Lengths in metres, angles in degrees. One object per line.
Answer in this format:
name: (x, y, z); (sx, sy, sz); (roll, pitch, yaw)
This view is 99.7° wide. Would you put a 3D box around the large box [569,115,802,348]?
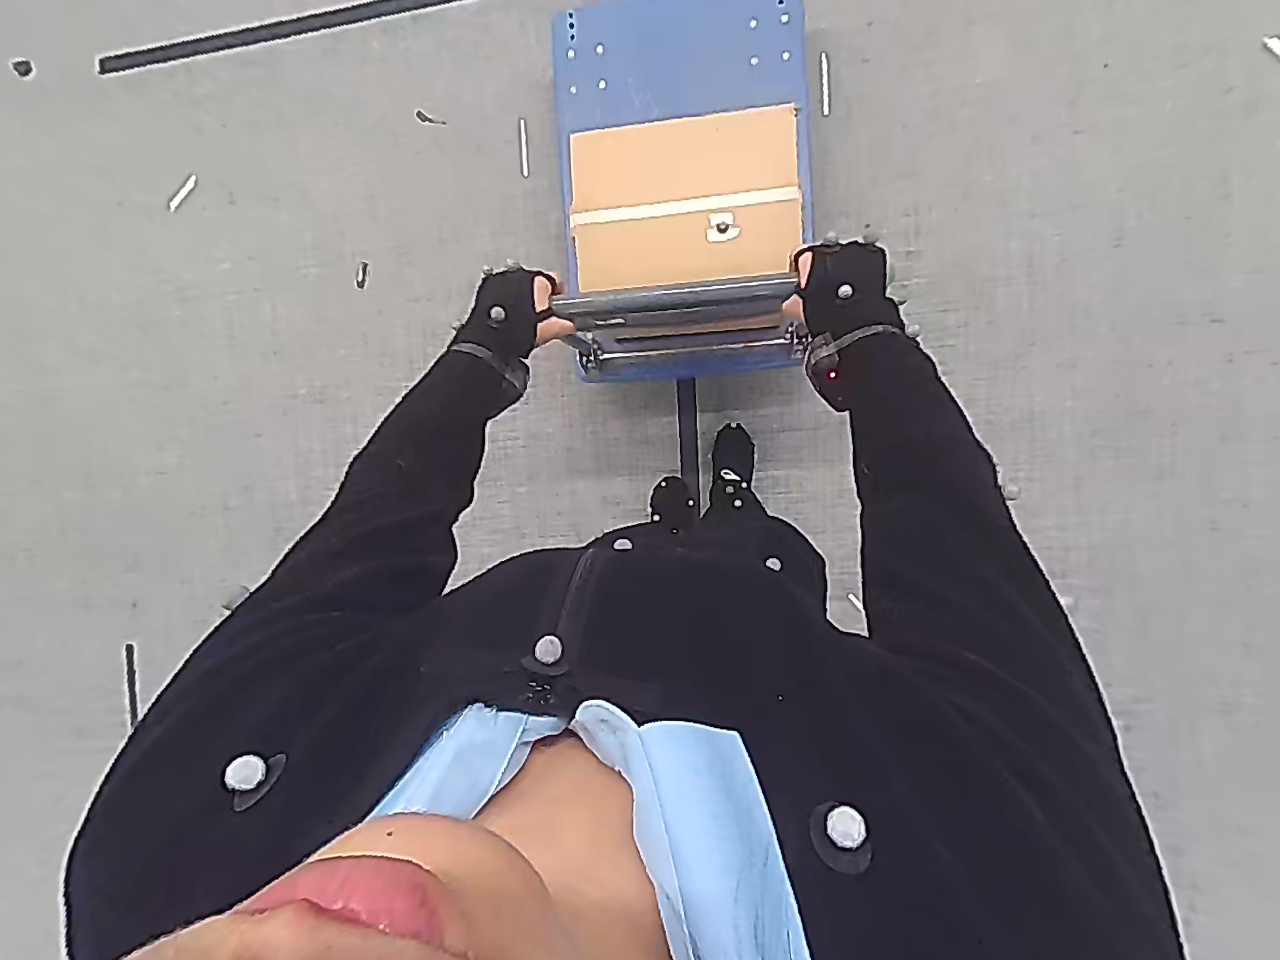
large box: (0.092, -0.471, 1.107); (0.408, 0.320, 0.320); (-3, 93, 7)
